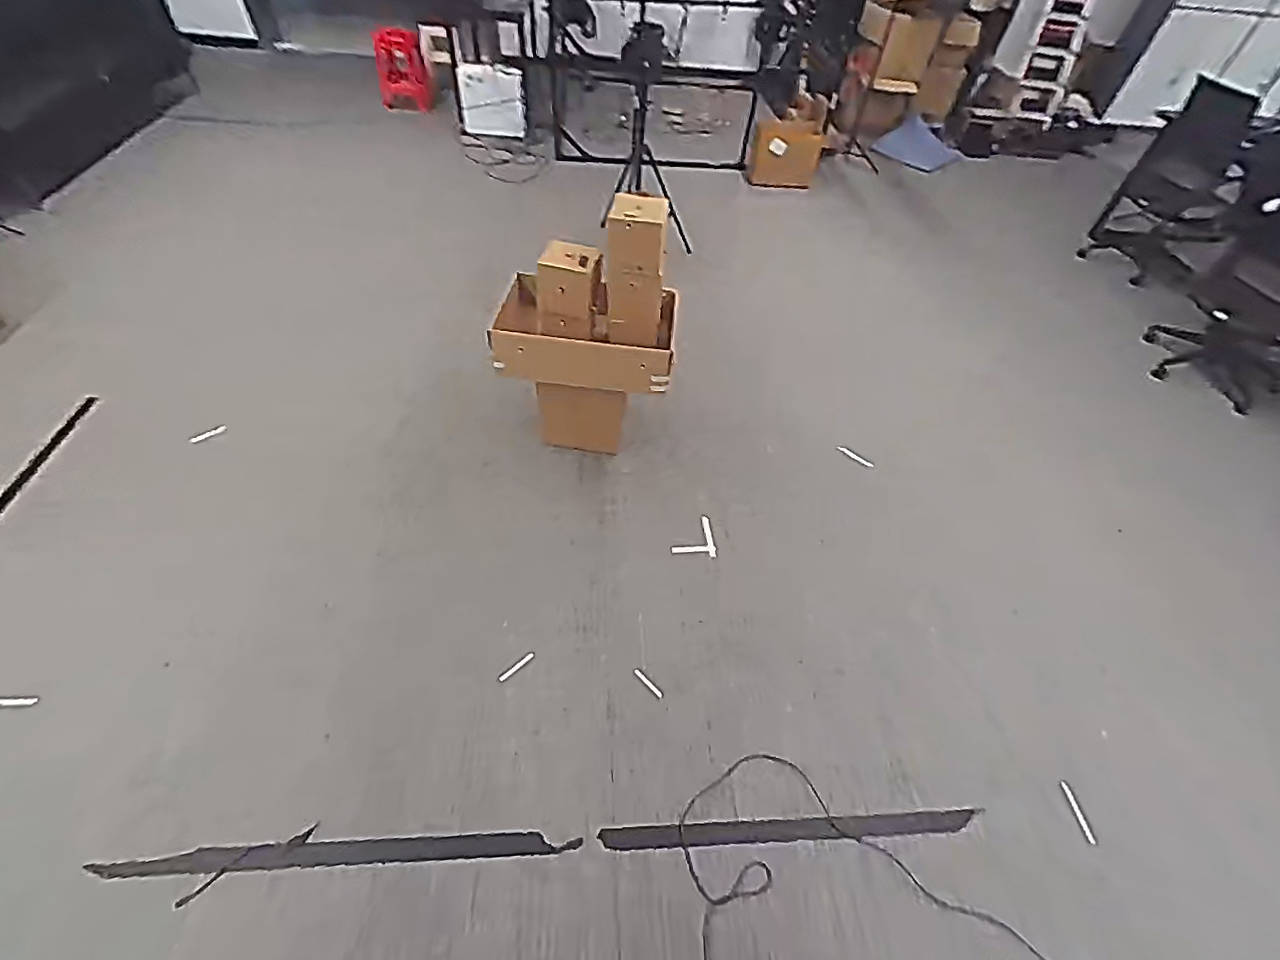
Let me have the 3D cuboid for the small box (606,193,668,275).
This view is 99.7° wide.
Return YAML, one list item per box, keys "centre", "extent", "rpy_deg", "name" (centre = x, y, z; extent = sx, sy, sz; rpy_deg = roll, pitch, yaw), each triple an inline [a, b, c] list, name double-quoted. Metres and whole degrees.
- centre: [-0.011, -0.755, 1.661]
  extent: [0.168, 0.176, 0.179]
  rpy_deg: [7, 49, 4]
  name: "small box"

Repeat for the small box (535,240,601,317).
- centre: [-0.233, -0.658, 1.780]
  extent: [0.179, 0.176, 0.168]
  rpy_deg: [12, 50, 4]
  name: "small box"

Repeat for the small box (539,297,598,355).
- centre: [-0.249, -0.563, 1.913]
  extent: [0.179, 0.176, 0.168]
  rpy_deg: [9, 49, 1]
  name: "small box"
